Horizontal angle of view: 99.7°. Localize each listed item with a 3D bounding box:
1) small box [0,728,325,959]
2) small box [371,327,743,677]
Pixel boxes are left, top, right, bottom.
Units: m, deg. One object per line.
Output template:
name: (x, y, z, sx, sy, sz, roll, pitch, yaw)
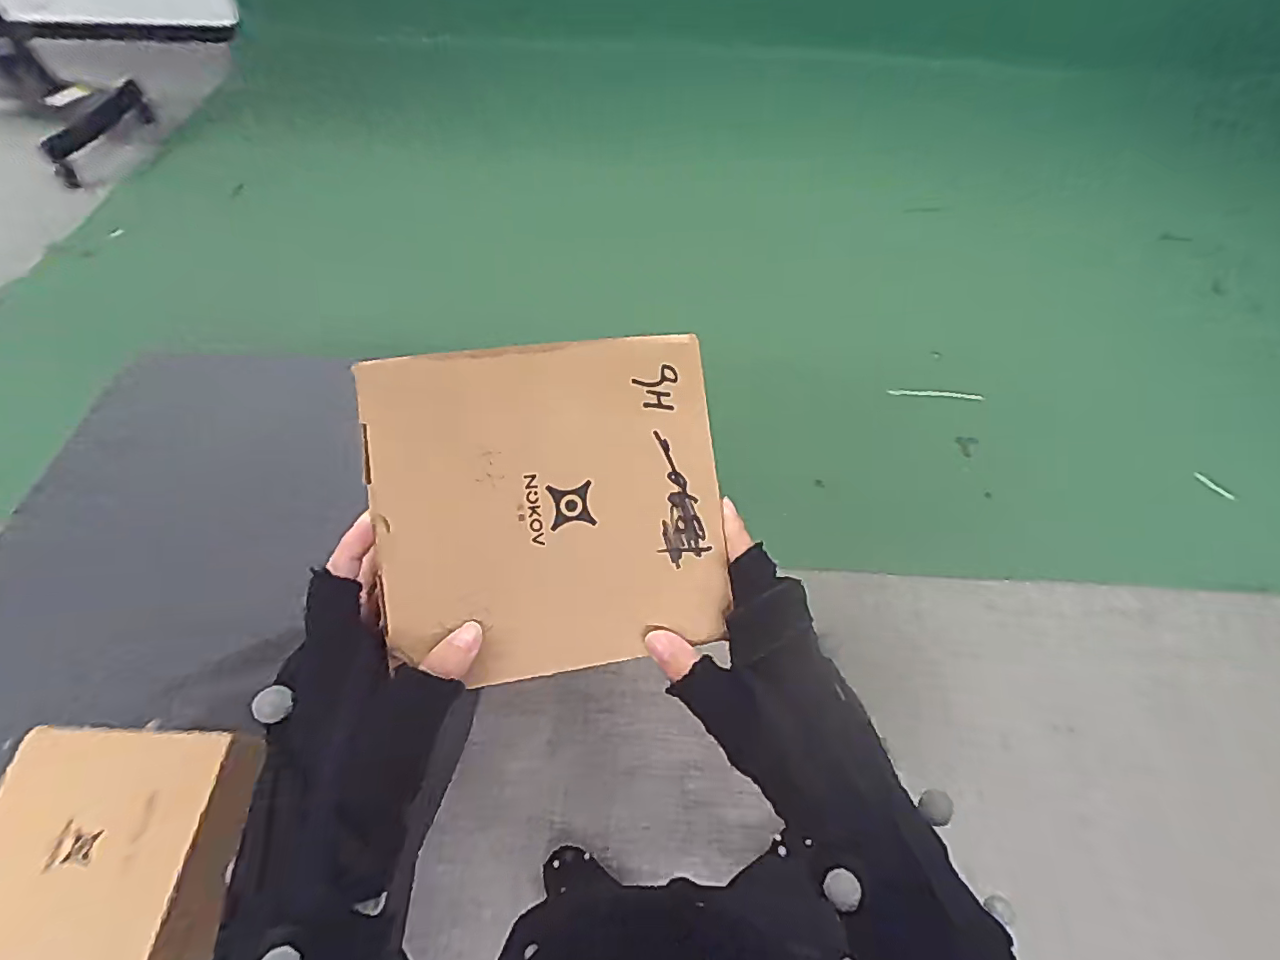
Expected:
small box: (-0.432, 0.326, 0.488, 0.179, 0.176, 0.168, 0, 59, 0)
small box: (-0.053, 0.015, 0.362, 0.179, 0.176, 0.168, -9, 85, -10)
